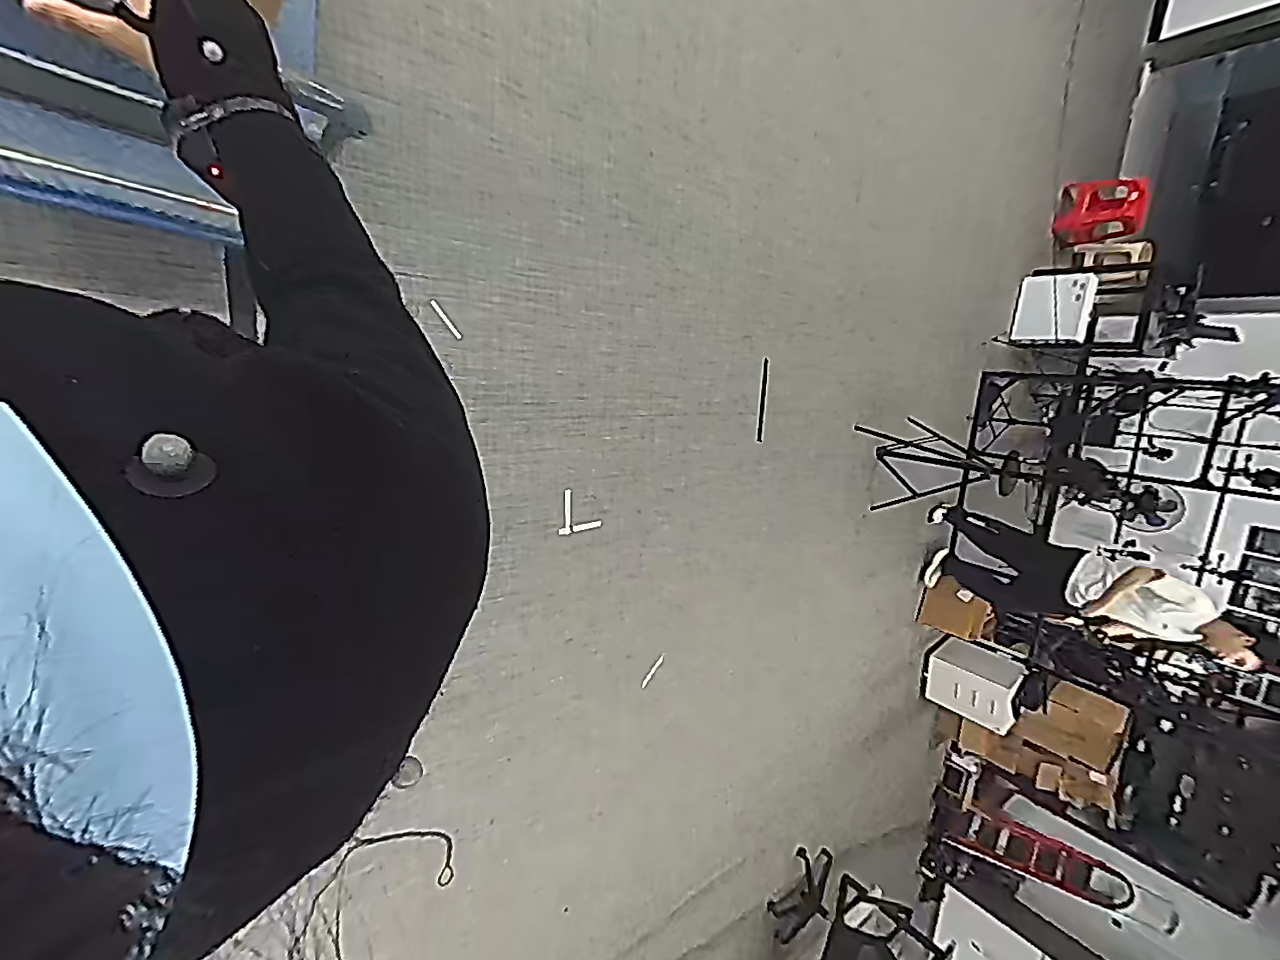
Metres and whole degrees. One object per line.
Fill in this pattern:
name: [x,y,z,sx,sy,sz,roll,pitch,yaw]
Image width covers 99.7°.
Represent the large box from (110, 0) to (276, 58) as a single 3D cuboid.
large box: [-0.738,-0.883,0.731,0.408,0.320,0.320,1,100,-40]
